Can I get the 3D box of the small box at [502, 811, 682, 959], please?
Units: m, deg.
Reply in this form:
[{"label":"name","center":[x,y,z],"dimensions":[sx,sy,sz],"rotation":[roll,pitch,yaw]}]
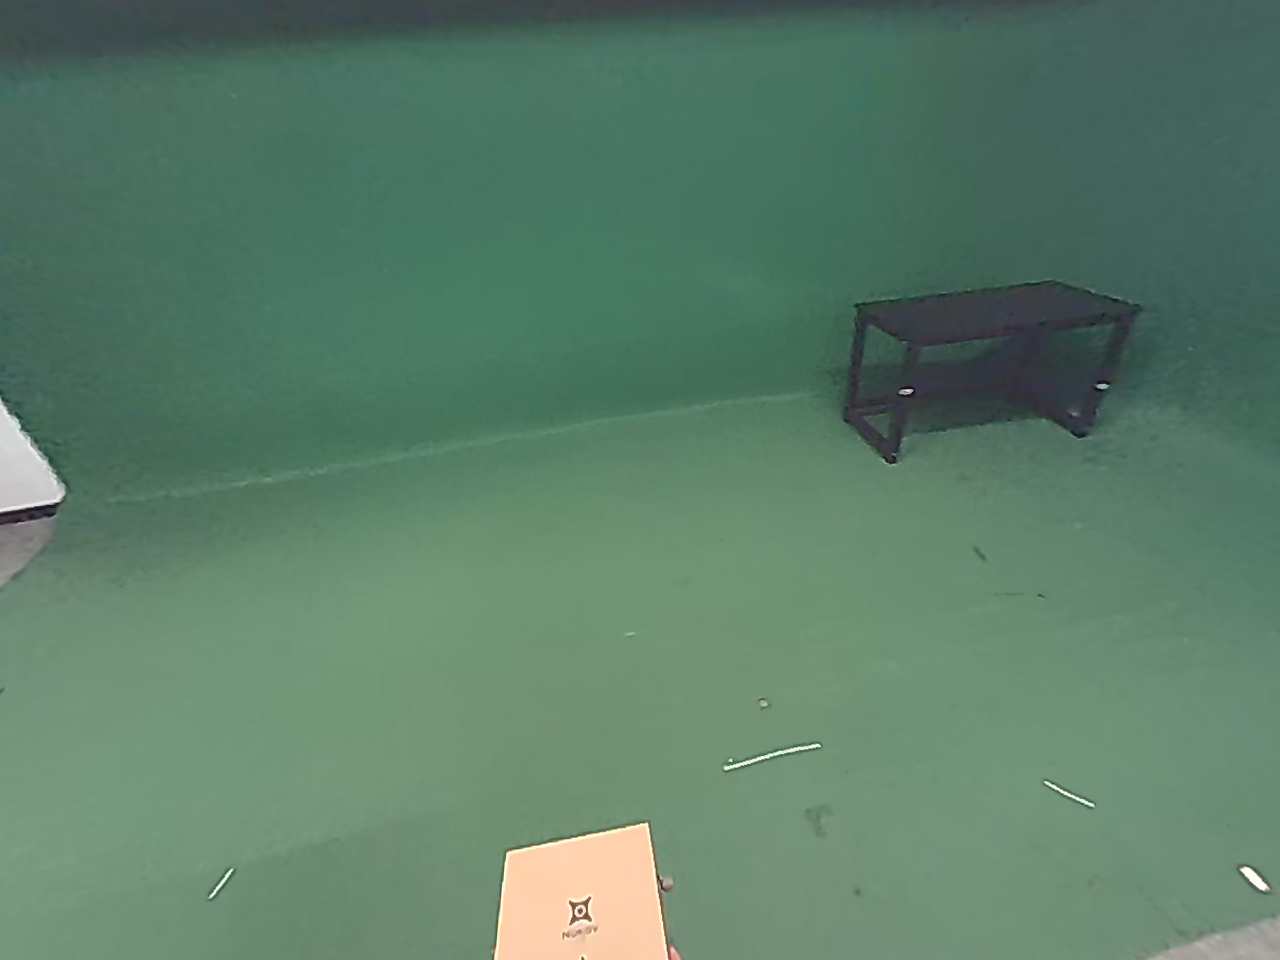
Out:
[{"label":"small box","center":[-0.044,0.506,0.585],"dimensions":[0.168,0.176,0.179],"rotation":[-10,23,-2]}]
